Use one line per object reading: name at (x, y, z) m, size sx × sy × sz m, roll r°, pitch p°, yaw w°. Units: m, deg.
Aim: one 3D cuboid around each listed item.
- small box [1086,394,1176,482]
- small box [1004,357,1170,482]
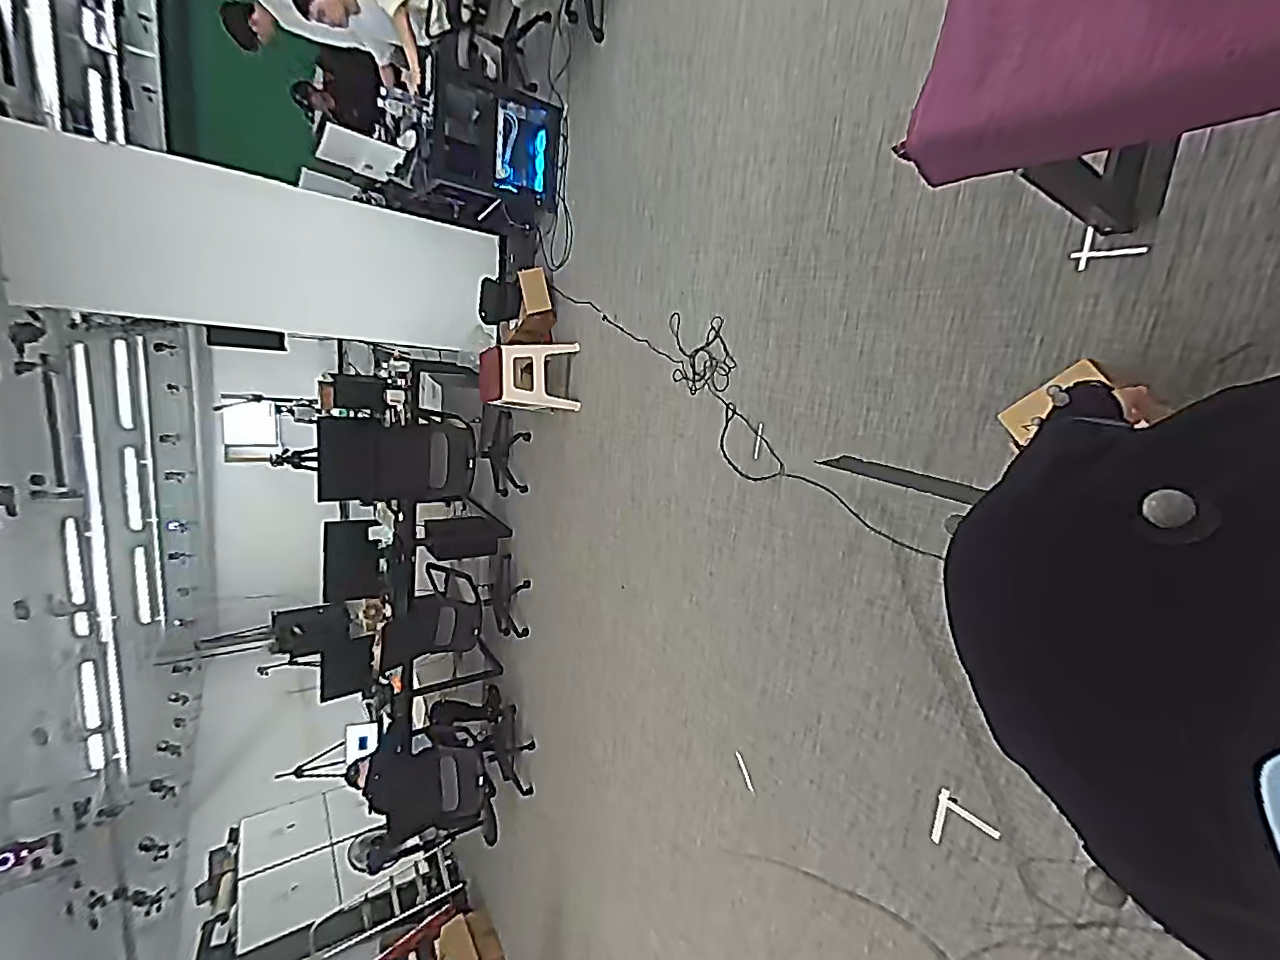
small box at (0.980, -0.113, 1.153) m, size 0.168 × 0.176 × 0.179 m, roll 50°, pitch 130°, yaw 40°
small box at (0.860, -0.111, 1.038) m, size 0.179 × 0.176 × 0.168 m, roll -48°, pitch 54°, yaw 44°
